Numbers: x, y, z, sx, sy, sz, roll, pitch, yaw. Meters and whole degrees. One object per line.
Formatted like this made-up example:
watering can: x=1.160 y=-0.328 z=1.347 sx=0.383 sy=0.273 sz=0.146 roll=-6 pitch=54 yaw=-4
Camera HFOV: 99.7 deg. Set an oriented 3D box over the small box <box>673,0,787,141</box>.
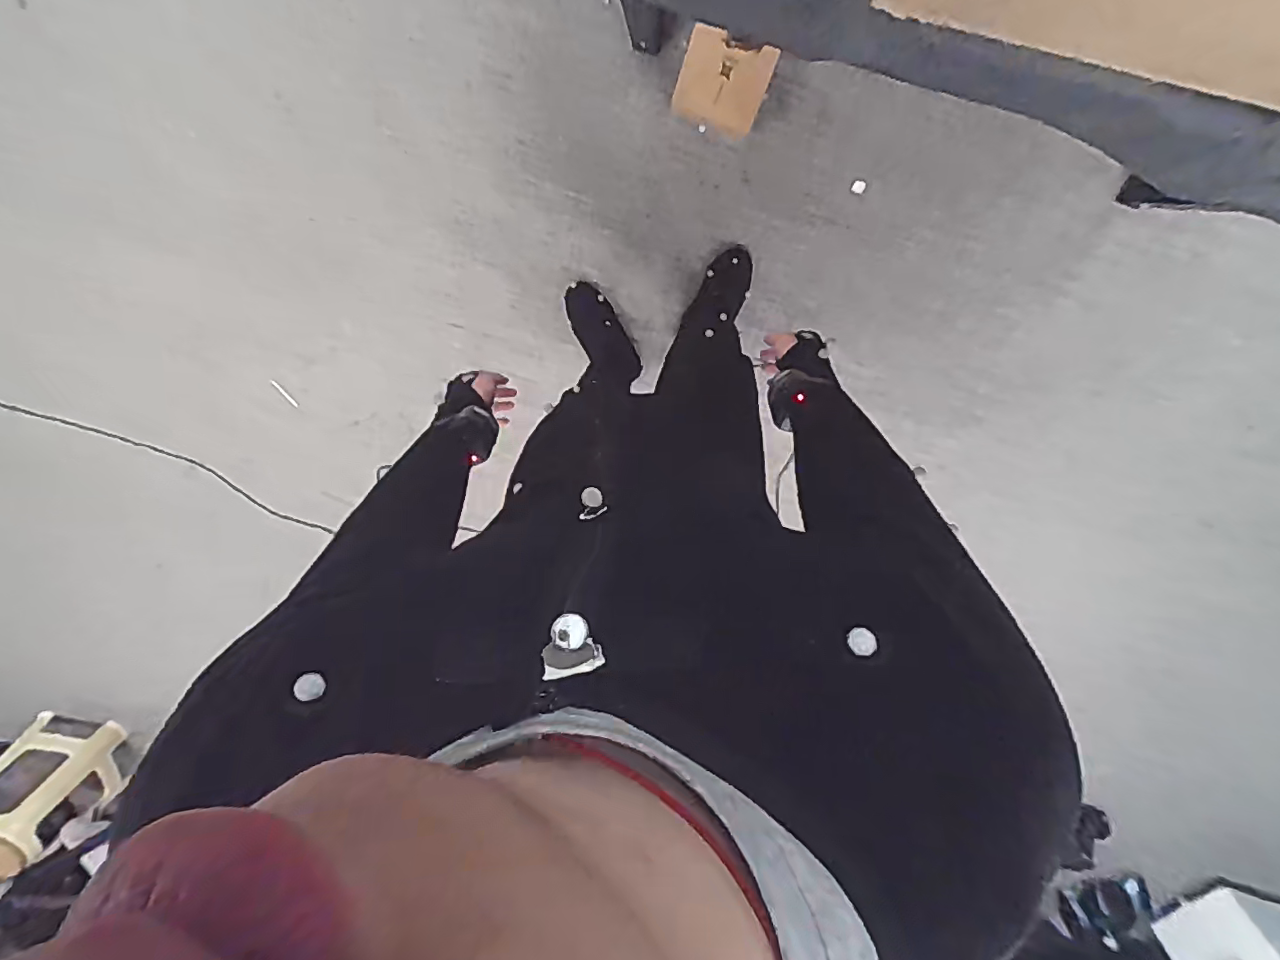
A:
small box: x=0.171 y=-0.812 z=1.088 sx=0.168 sy=0.176 sz=0.179 roll=19 pitch=119 yaw=-6
